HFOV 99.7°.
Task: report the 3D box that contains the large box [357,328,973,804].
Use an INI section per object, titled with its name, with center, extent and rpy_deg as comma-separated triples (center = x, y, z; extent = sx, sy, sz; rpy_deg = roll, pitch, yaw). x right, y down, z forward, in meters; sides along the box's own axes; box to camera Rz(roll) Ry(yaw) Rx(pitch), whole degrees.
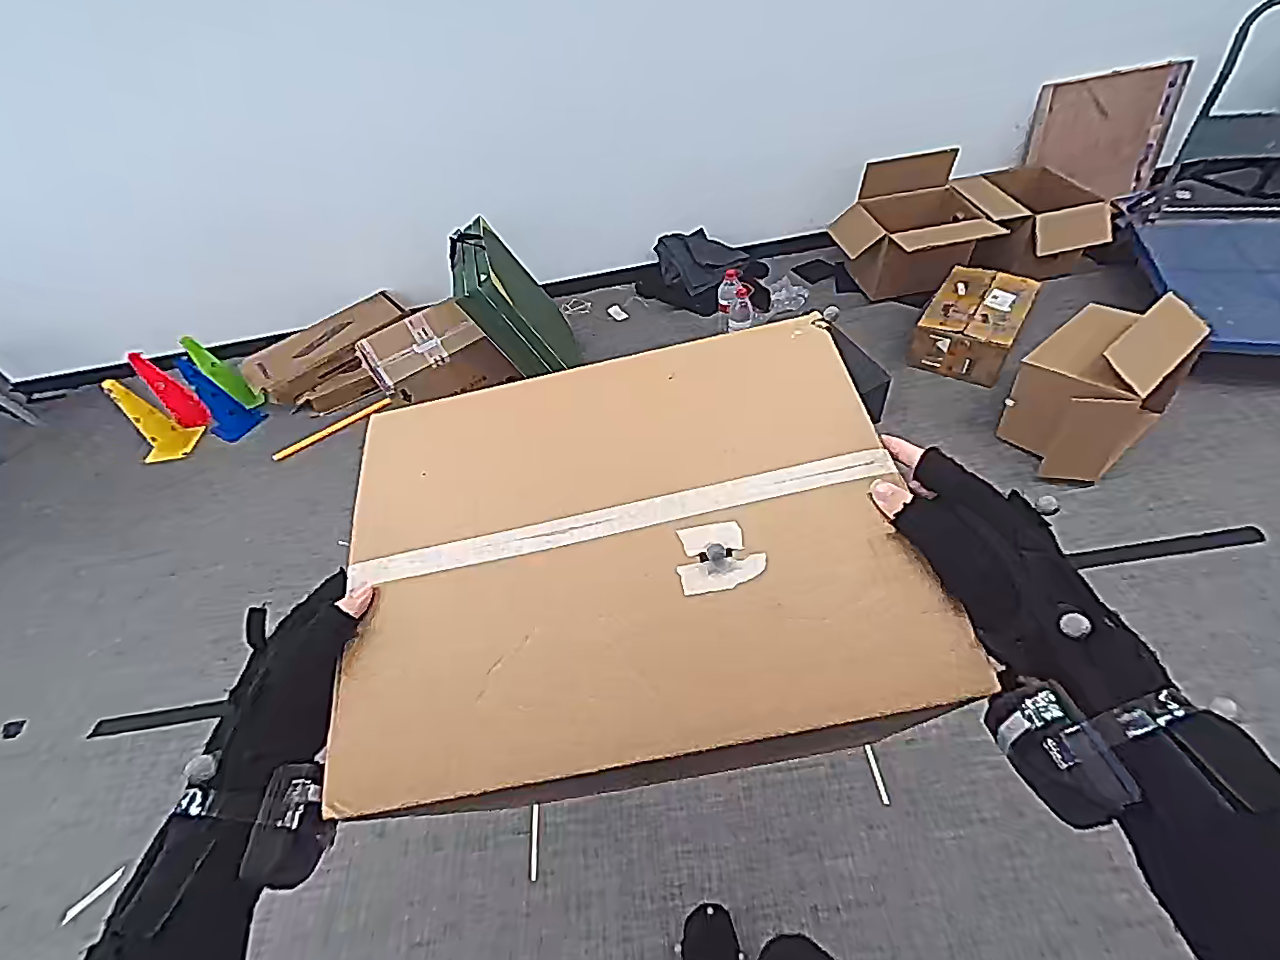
[large box]
center = 0.008, 0.108, 0.538
extent = 0.408, 0.320, 0.320
rpy_deg = -12, 59, 2
